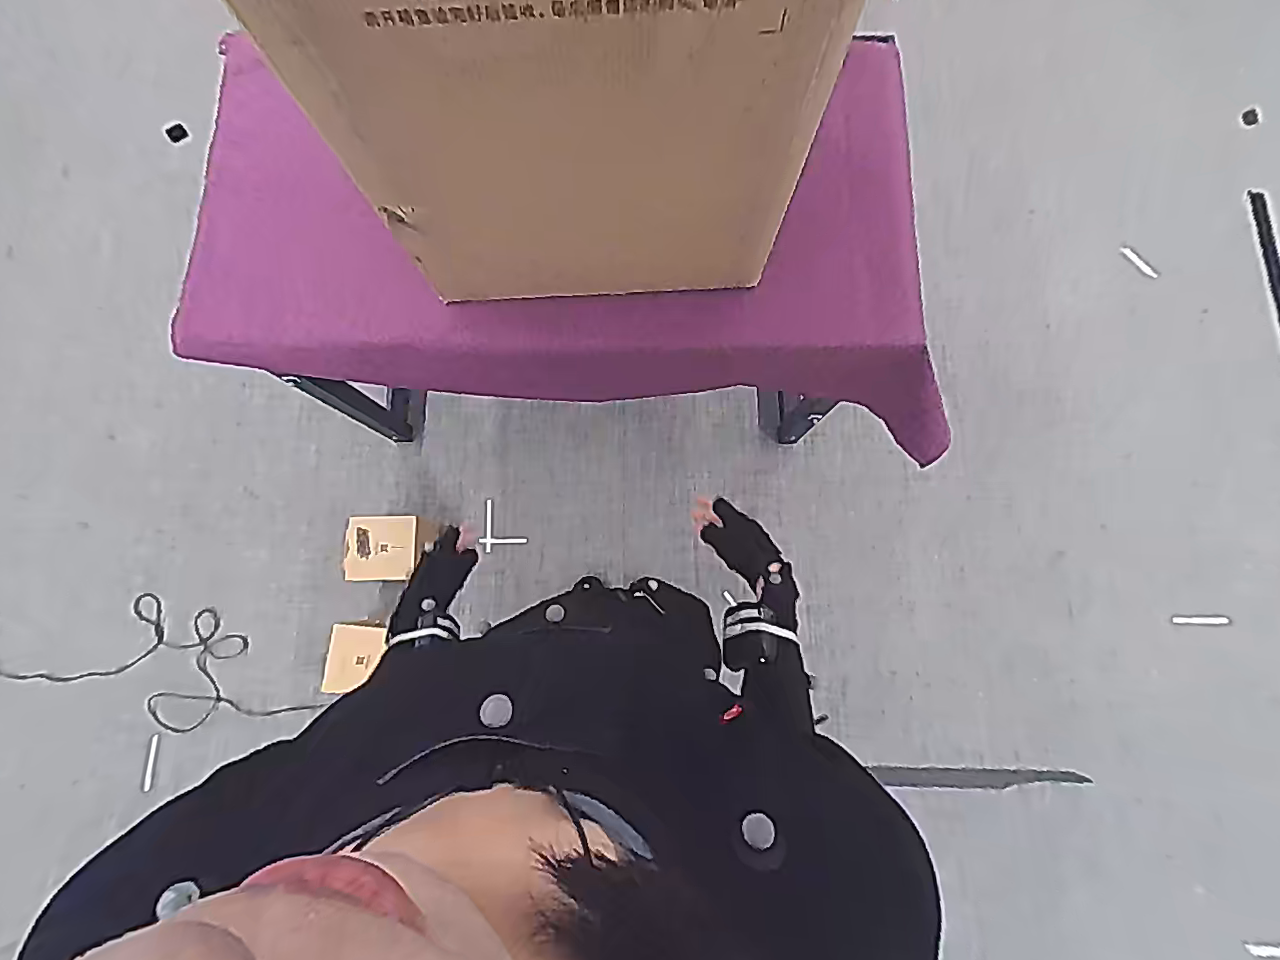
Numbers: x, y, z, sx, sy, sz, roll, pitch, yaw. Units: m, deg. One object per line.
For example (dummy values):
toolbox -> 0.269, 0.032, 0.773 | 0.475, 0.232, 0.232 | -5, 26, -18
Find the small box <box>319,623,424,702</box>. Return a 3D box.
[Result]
small box -> -0.683, 0.464, 1.400 | 0.179, 0.176, 0.168 | 5, 78, 2

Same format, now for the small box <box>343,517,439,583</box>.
small box -> -0.660, 0.191, 1.449 | 0.179, 0.176, 0.168 | -1, 79, 0
